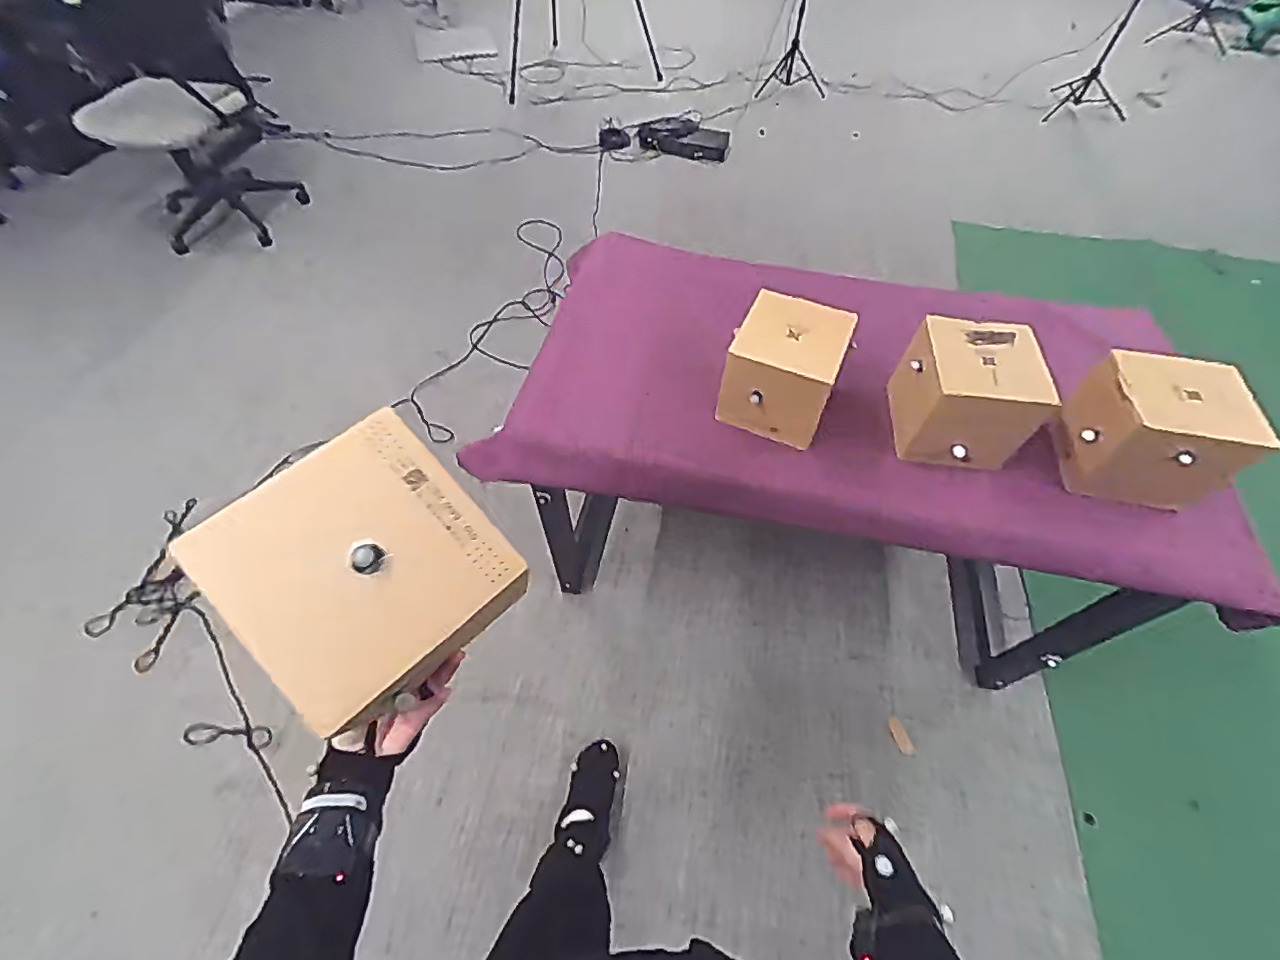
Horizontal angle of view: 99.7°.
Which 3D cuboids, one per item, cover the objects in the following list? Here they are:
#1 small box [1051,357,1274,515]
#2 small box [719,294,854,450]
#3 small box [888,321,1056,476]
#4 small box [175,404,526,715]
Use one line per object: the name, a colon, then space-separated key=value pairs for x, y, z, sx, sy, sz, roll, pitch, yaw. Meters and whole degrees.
small box: x=0.786 y=-0.064 z=0.846 sx=0.179 sy=0.176 sz=0.168 roll=12 pitch=55 yaw=7
small box: x=0.241 y=-0.179 z=0.920 sx=0.168 sy=0.176 sz=0.179 roll=21 pitch=57 yaw=14
small box: x=0.526 y=-0.132 z=0.890 sx=0.168 sy=0.176 sz=0.179 roll=7 pitch=56 yaw=4
small box: x=-0.212 y=0.066 z=0.451 sx=0.176 sy=0.179 sz=0.168 roll=-39 pitch=84 yaw=-23
